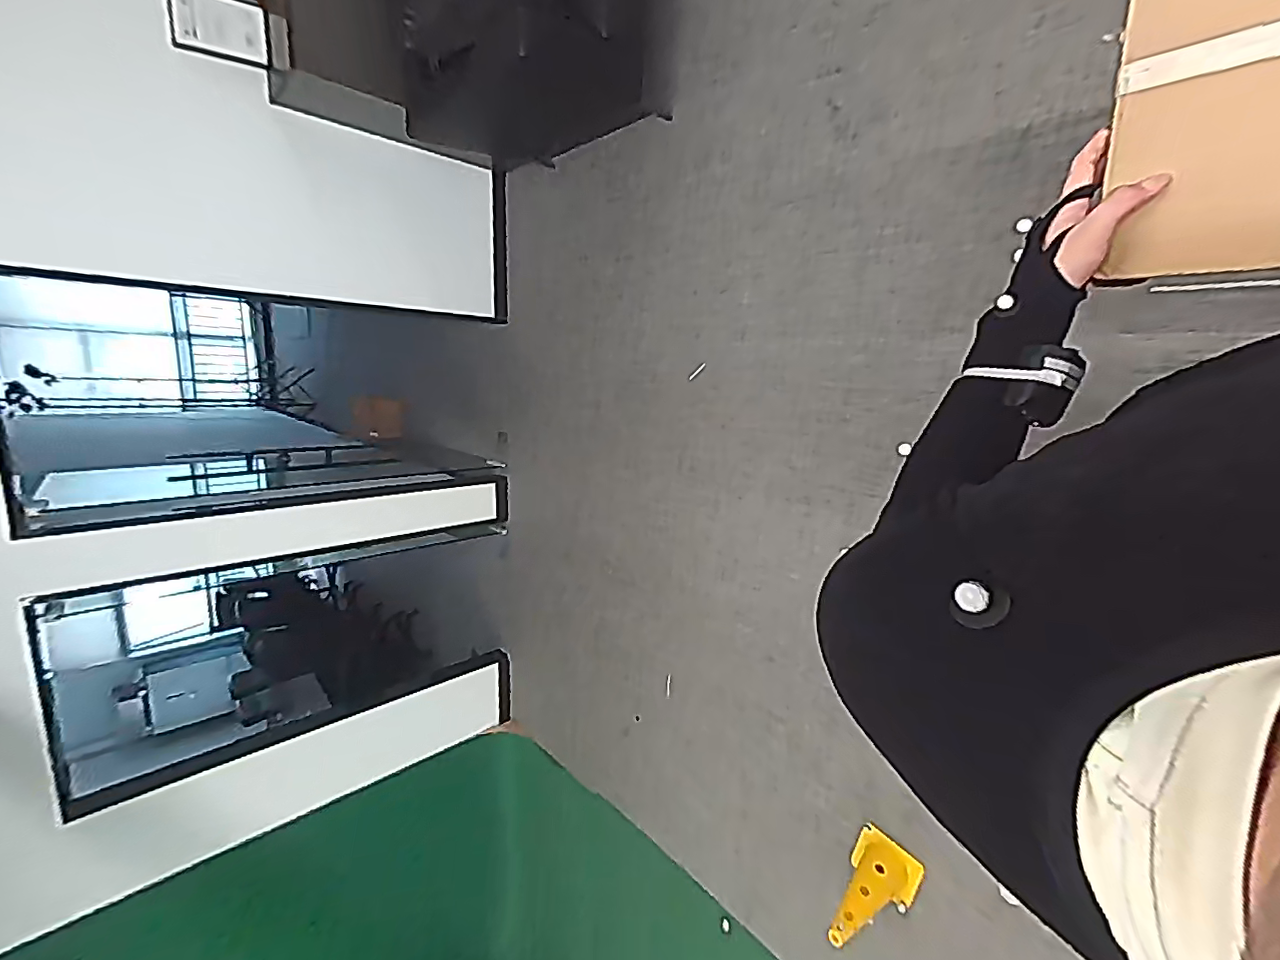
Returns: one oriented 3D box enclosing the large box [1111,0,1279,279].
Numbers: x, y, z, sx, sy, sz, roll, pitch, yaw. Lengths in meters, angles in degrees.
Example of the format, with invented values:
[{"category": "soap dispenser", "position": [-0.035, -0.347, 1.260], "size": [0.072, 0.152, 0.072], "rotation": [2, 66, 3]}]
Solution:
[{"category": "large box", "position": [0.648, -0.347, 0.397], "size": [0.408, 0.320, 0.320], "rotation": [13, 119, 46]}]
